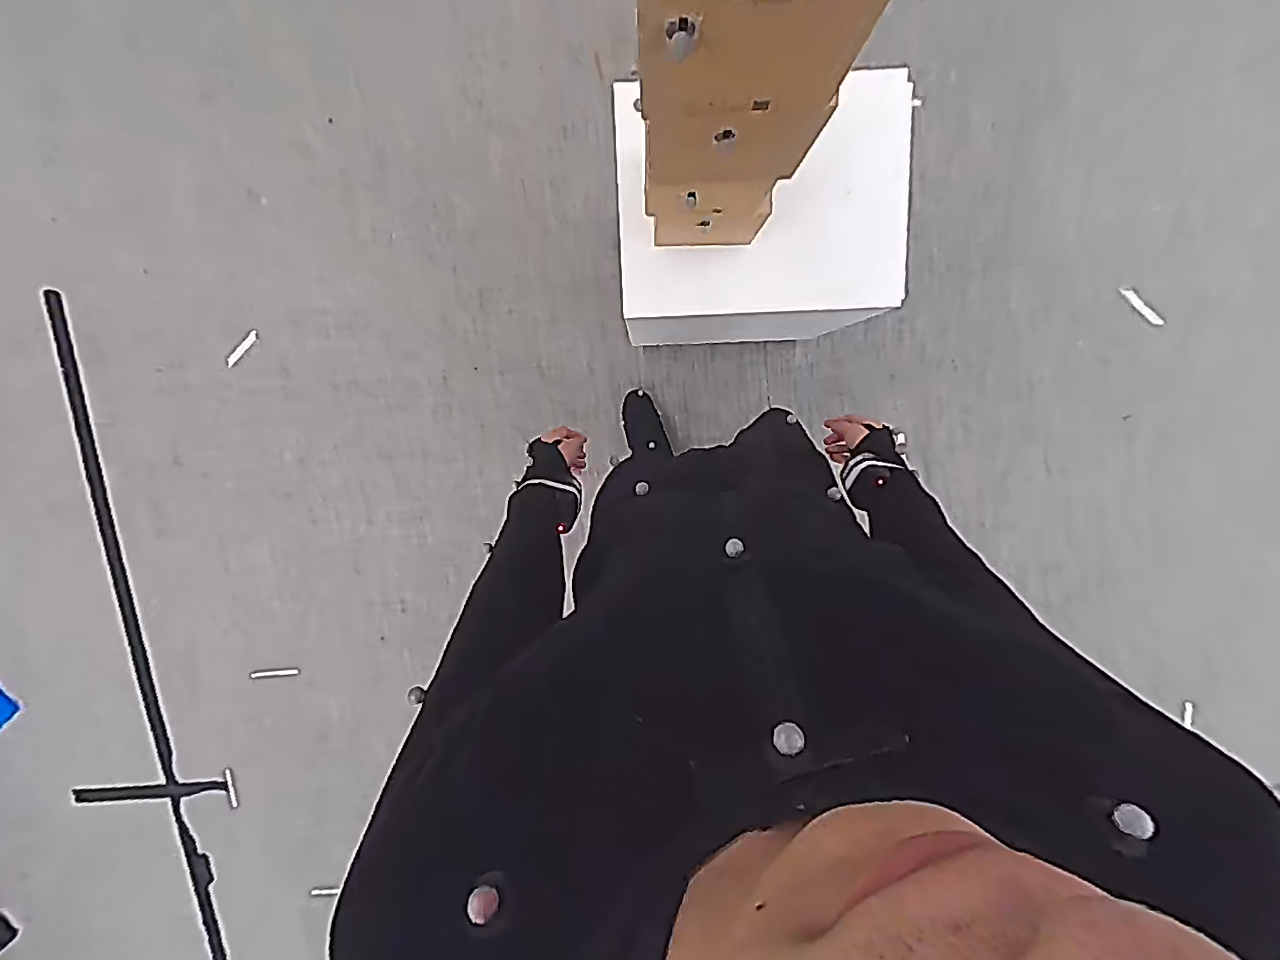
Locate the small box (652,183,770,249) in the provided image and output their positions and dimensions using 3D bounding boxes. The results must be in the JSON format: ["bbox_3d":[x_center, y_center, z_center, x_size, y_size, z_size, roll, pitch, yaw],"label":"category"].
[{"bbox_3d":[0.107,-0.484,0.881,0.179,0.176,0.168,-1,98,-1],"label":"small box"}]

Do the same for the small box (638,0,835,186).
[{"bbox_3d":[0.088,-0.422,0.559,0.179,0.176,0.168,-2,99,0],"label":"small box"}]

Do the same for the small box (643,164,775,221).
[{"bbox_3d":[0.089,-0.460,0.721,0.168,0.176,0.179,1,98,0],"label":"small box"}]
